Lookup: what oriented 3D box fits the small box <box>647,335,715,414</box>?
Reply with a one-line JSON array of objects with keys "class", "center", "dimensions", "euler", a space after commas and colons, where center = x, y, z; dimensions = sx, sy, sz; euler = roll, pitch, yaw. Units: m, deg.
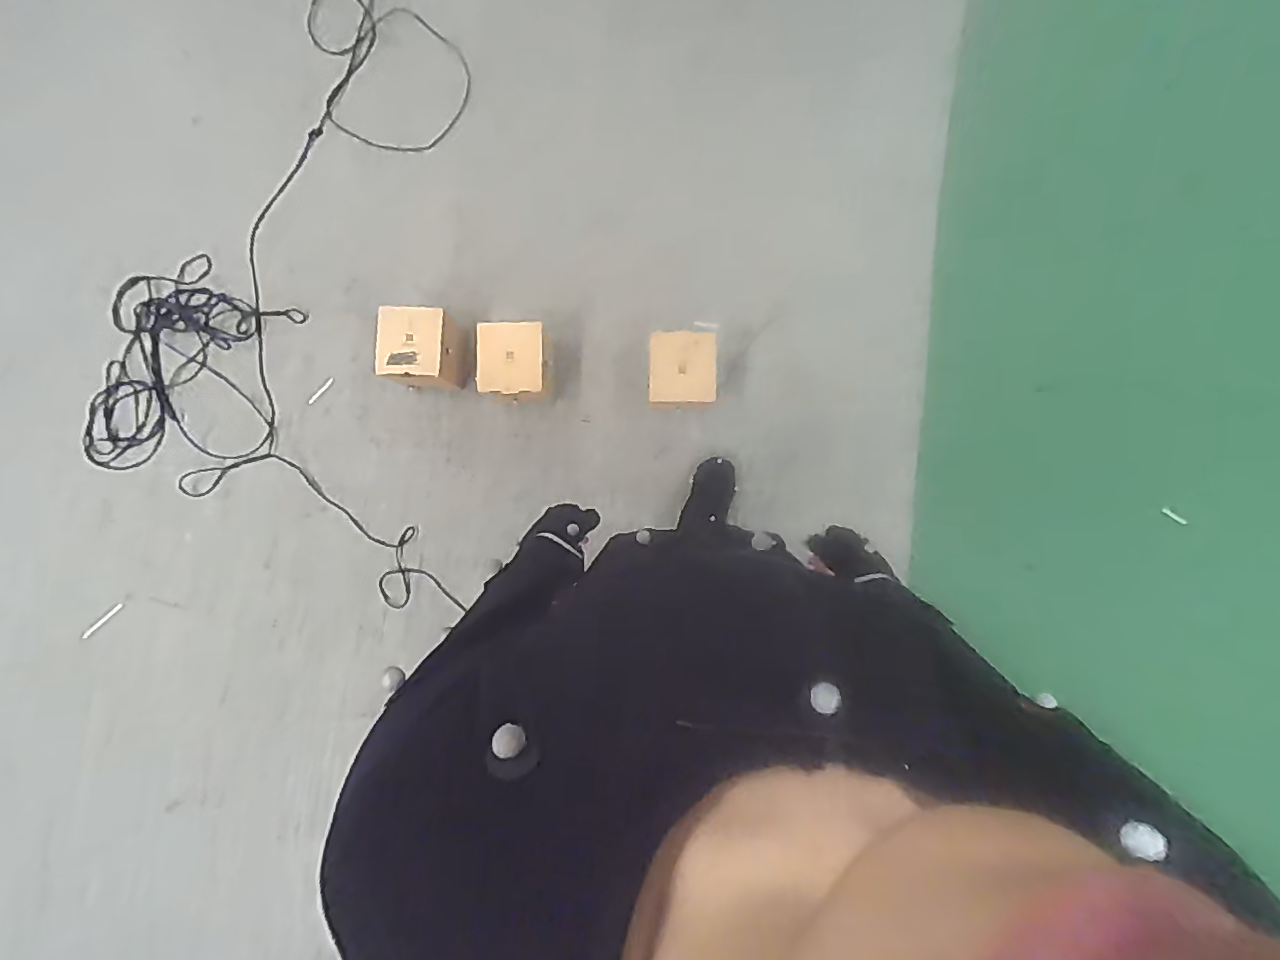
[{"class": "small box", "center": [0.103, -0.267, 1.406], "dimensions": [0.168, 0.176, 0.179], "euler": [1, 89, 0]}]

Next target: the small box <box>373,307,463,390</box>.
[{"class": "small box", "center": [-0.575, -0.337, 1.419], "dimensions": [0.168, 0.176, 0.179], "euler": [3, 88, 1]}]

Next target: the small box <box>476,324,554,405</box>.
[{"class": "small box", "center": [-0.323, -0.296, 1.415], "dimensions": [0.168, 0.176, 0.179], "euler": [0, 89, 1]}]
